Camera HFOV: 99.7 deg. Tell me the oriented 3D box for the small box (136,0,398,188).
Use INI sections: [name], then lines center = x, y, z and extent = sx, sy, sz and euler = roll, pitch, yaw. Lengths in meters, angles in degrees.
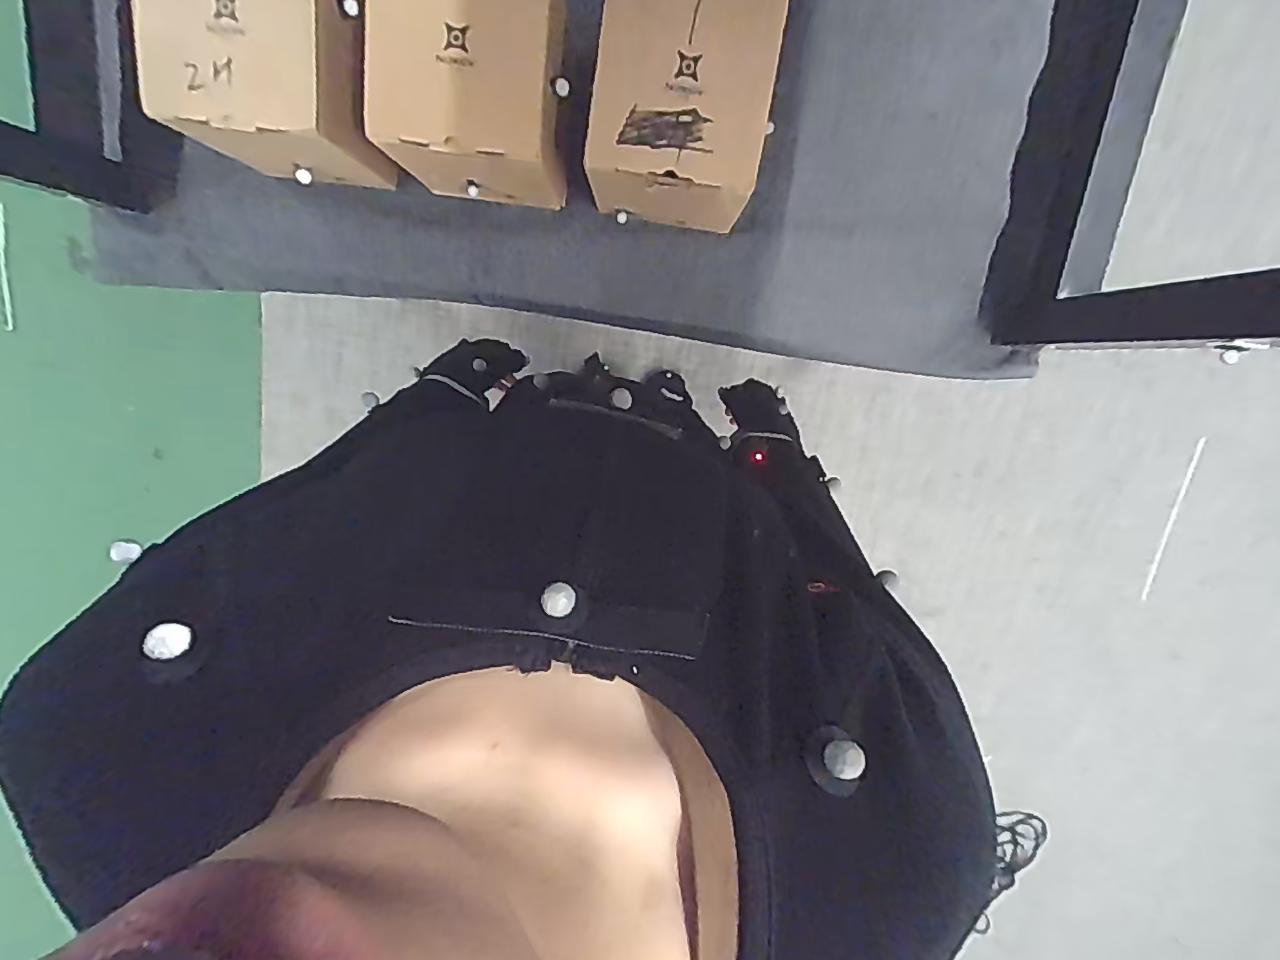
[small box]
center = -0.370, -0.435, 0.566
extent = 0.168, 0.176, 0.179
euler = 6, 102, -1
